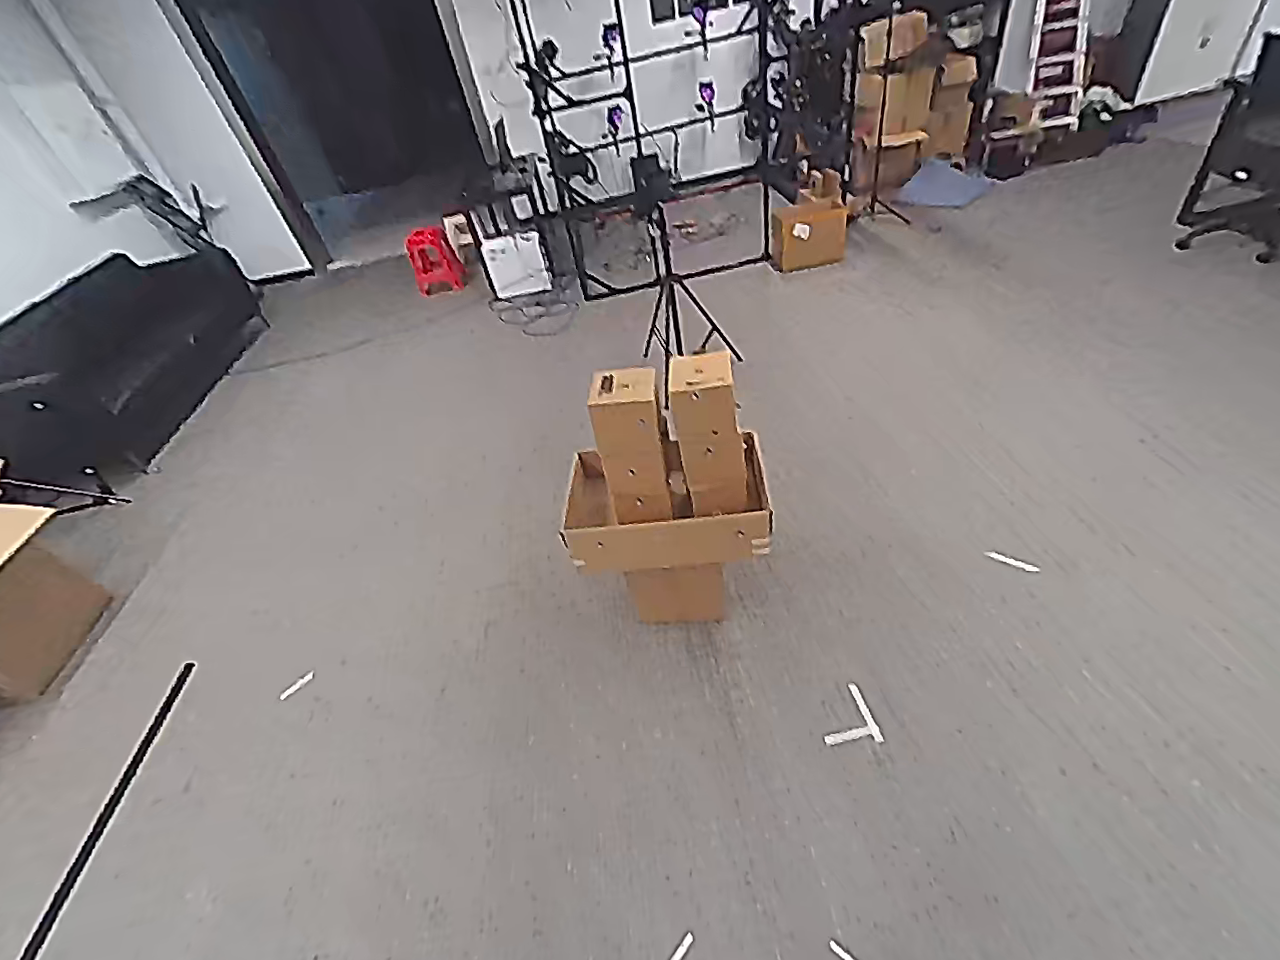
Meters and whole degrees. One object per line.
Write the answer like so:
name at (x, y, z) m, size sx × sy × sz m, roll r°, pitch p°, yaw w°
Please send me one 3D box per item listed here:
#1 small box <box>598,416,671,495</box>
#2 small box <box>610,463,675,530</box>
small box at (-0.008, -0.070, 1.591) m, size 0.179 × 0.176 × 0.168 m, roll -2°, pitch 42°, yaw 12°
small box at (0.015, 0.043, 1.707) m, size 0.179 × 0.176 × 0.168 m, roll -4°, pitch 41°, yaw 9°
